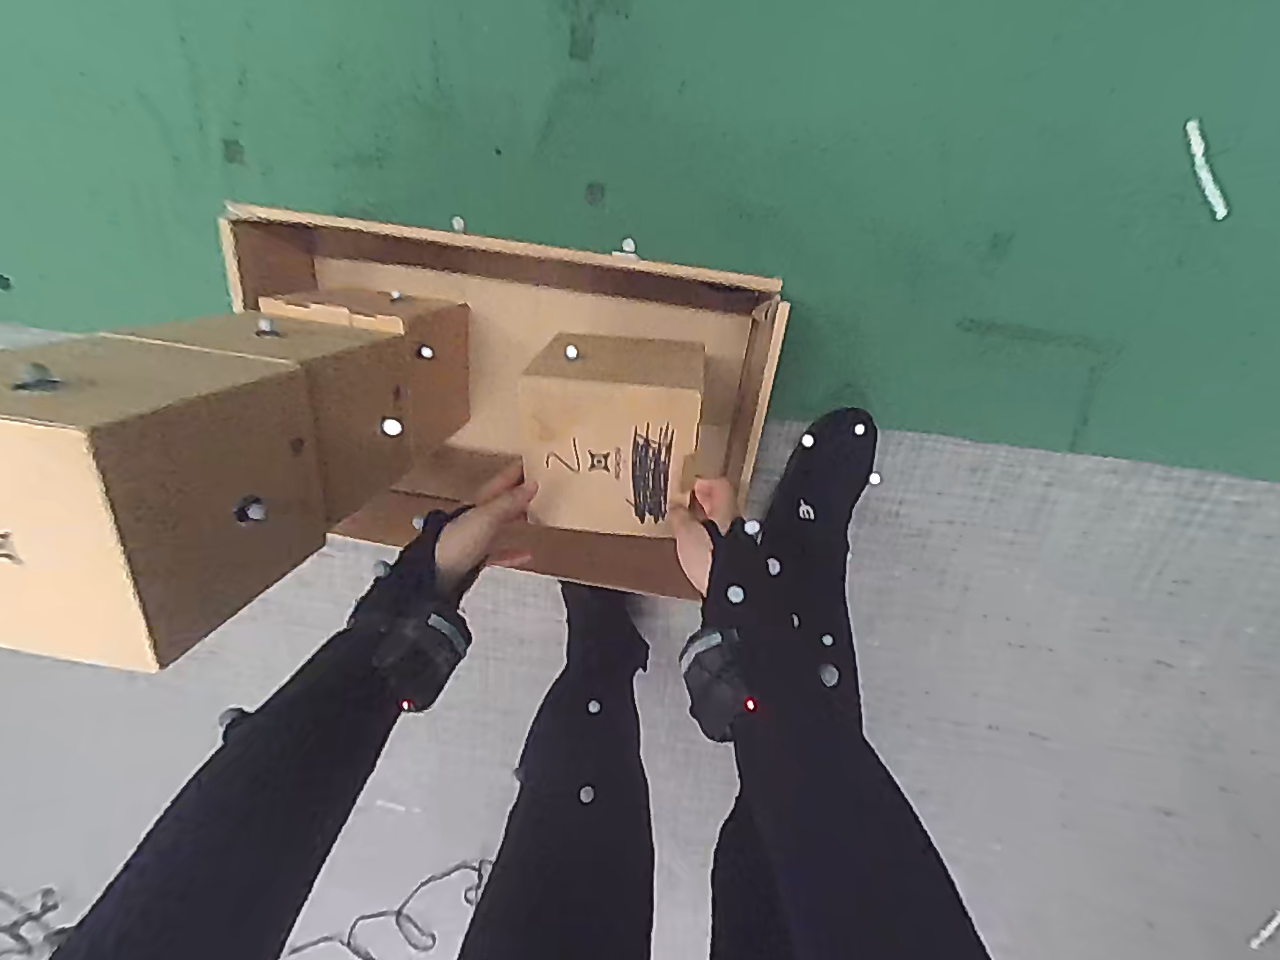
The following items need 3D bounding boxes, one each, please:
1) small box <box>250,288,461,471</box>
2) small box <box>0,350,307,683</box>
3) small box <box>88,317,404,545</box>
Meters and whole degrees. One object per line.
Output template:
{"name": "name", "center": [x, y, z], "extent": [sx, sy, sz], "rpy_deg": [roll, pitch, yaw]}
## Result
{"name": "small box", "center": [-0.336, -0.133, 0.679], "extent": [0.168, 0.176, 0.179], "rpy_deg": [8, 115, 3]}
{"name": "small box", "center": [-0.369, 0.010, 0.385], "extent": [0.179, 0.176, 0.168], "rpy_deg": [9, 114, 3]}
{"name": "small box", "center": [-0.361, -0.060, 0.534], "extent": [0.179, 0.176, 0.168], "rpy_deg": [9, 115, 2]}
